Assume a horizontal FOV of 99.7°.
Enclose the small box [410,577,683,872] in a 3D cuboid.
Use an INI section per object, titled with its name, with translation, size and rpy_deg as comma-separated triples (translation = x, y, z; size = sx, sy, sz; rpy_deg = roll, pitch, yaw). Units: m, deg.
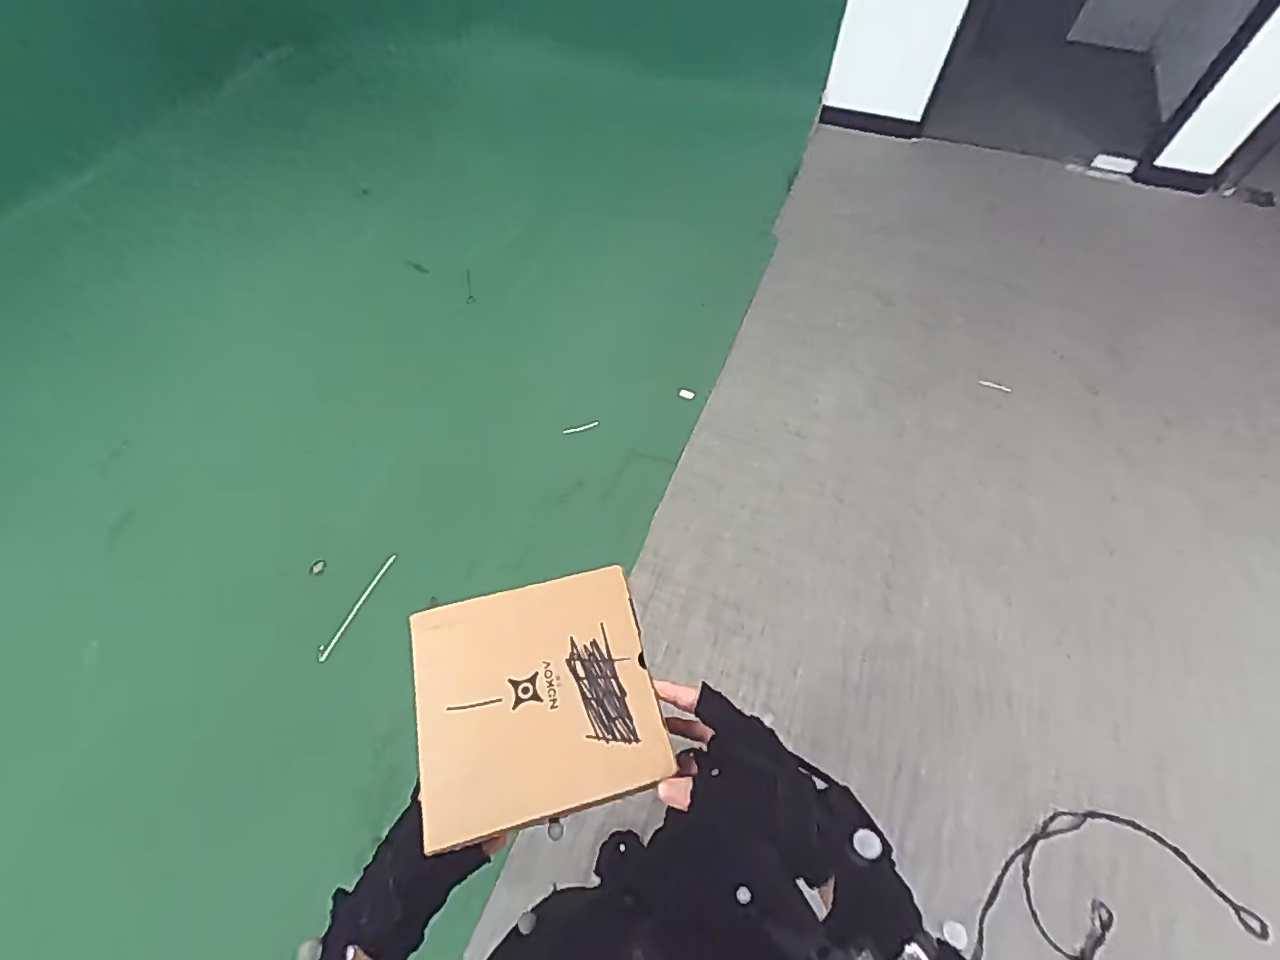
[small box]
translation = -0.079, 0.204, 0.461
size = 0.179, 0.176, 0.168
rpy_deg = -12, 60, -11
